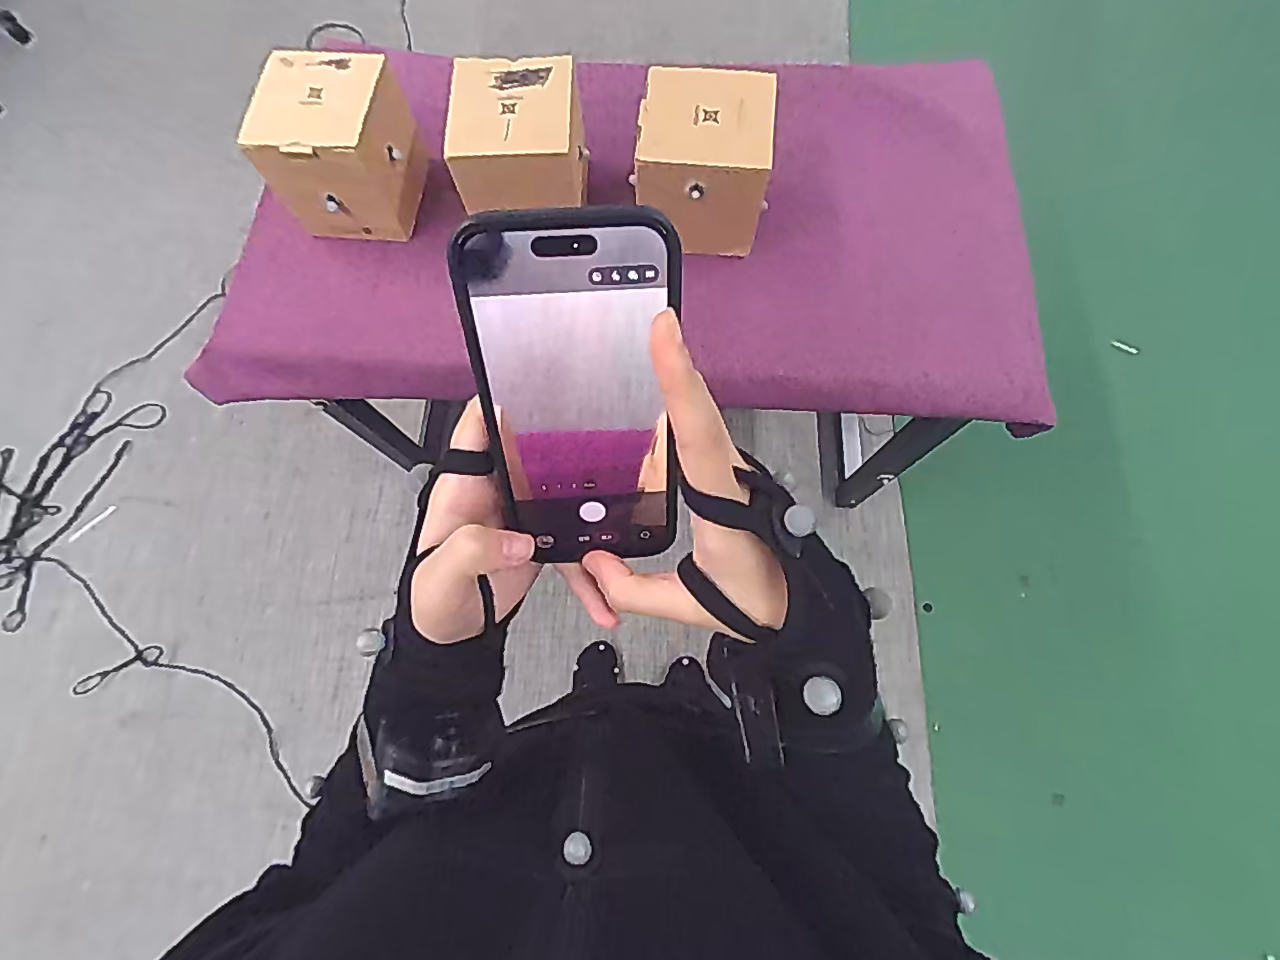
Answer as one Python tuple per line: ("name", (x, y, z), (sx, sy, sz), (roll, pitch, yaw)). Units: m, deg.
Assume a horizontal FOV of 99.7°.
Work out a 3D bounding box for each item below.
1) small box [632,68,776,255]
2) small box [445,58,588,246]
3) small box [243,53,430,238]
("small box", (0.089, -0.451, 0.784), (0.179, 0.176, 0.168), (7, 73, 4))
("small box", (-0.170, -0.476, 0.799), (0.168, 0.176, 0.179), (-1, 73, 2))
("small box", (-0.437, -0.492, 0.811), (0.168, 0.176, 0.179), (4, 73, 3))
